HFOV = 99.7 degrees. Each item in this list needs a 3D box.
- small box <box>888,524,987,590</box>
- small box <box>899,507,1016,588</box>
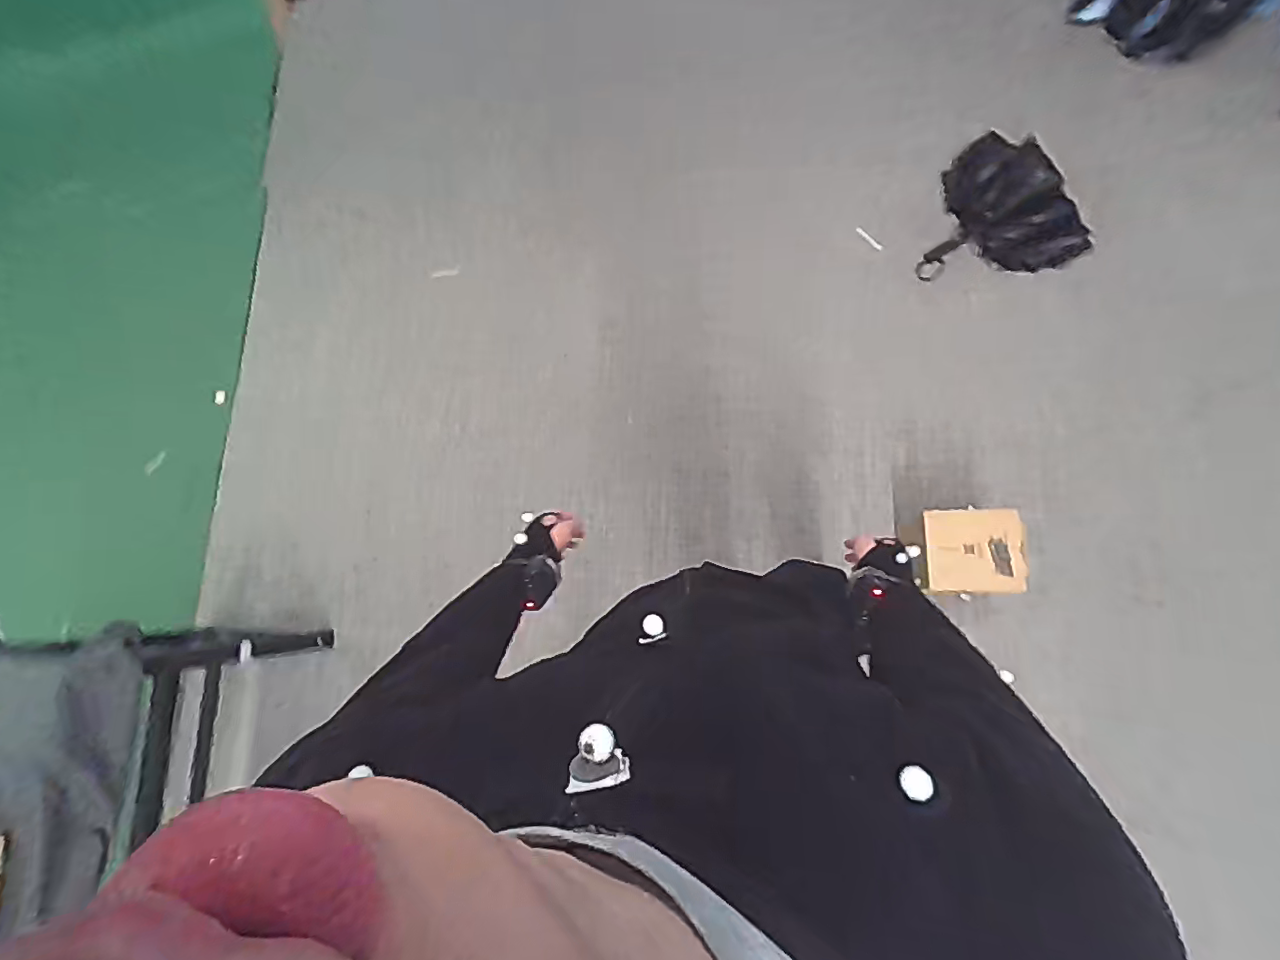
[{"bbox_3d":[0.727,0.186,1.335,0.179,0.176,0.168,-3,78,15],"label":"small box"},{"bbox_3d":[0.682,0.149,1.180,0.179,0.176,0.168,-2,79,14],"label":"small box"}]
